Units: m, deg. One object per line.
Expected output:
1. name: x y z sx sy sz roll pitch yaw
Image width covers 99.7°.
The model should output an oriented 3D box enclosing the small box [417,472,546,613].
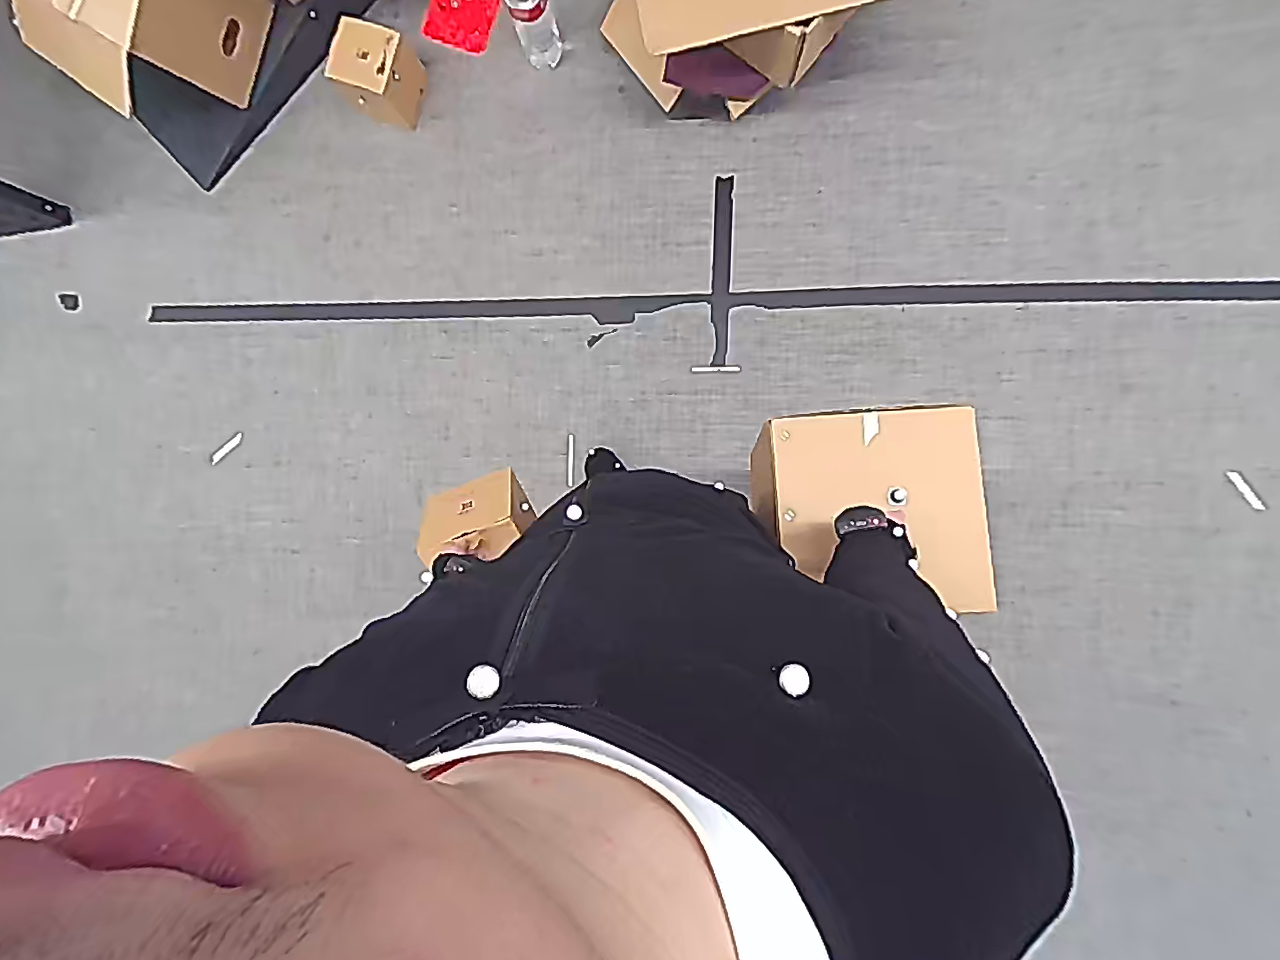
1. small box: -0.279 0.120 0.991 0.168 0.179 0.176 -20 121 -1
